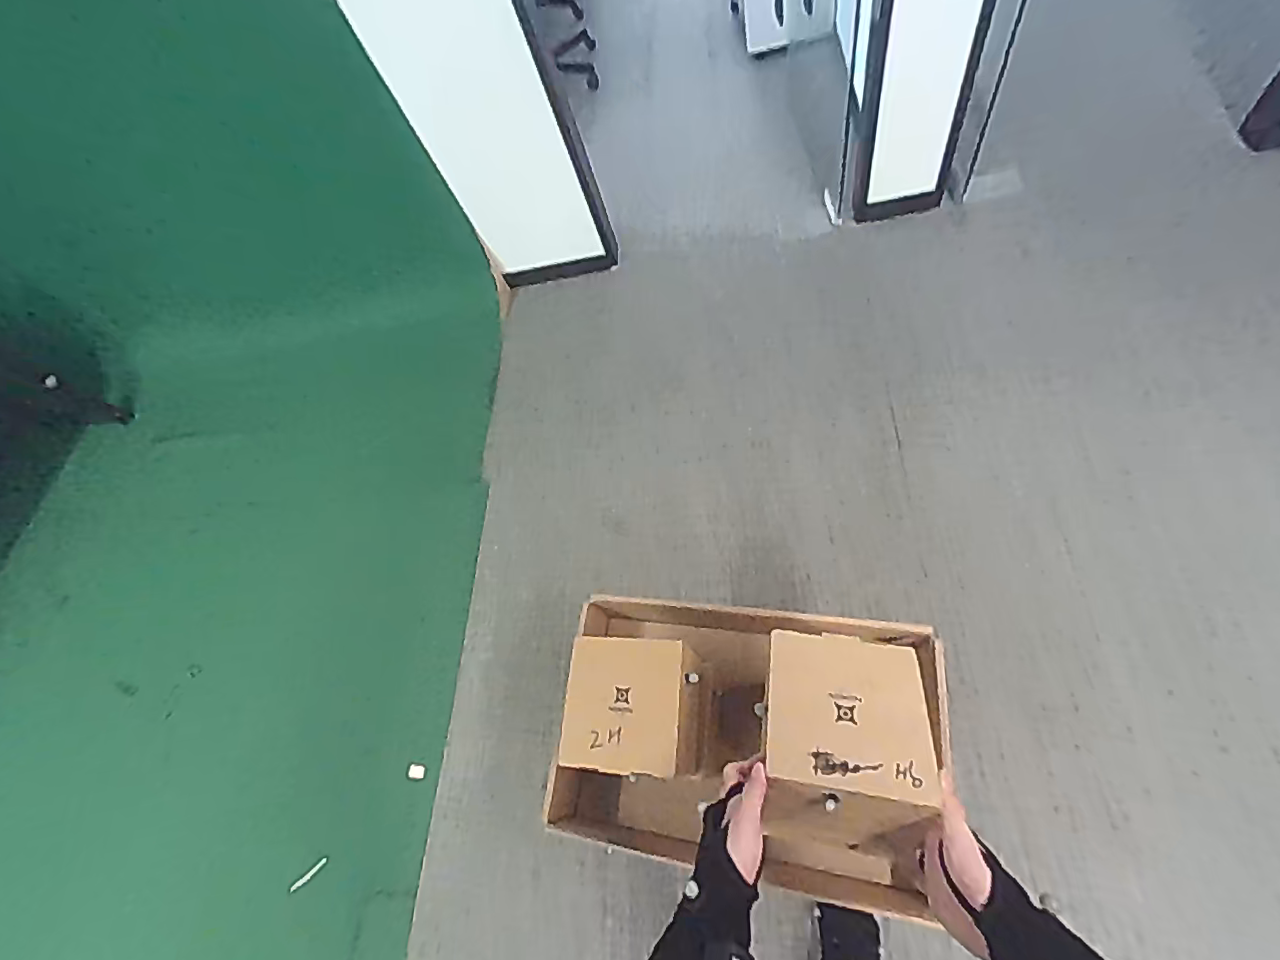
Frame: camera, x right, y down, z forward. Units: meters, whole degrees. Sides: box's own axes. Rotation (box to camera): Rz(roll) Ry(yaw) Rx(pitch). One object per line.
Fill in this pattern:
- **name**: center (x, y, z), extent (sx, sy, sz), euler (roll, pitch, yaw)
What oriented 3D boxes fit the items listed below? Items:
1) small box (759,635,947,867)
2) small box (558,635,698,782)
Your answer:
- **small box**: center (0.231, 0.313, 0.632), extent (0.168, 0.176, 0.179), euler (5, 42, 12)
- **small box**: center (-0.006, 0.343, 0.816), extent (0.168, 0.176, 0.179), euler (0, 65, 15)
